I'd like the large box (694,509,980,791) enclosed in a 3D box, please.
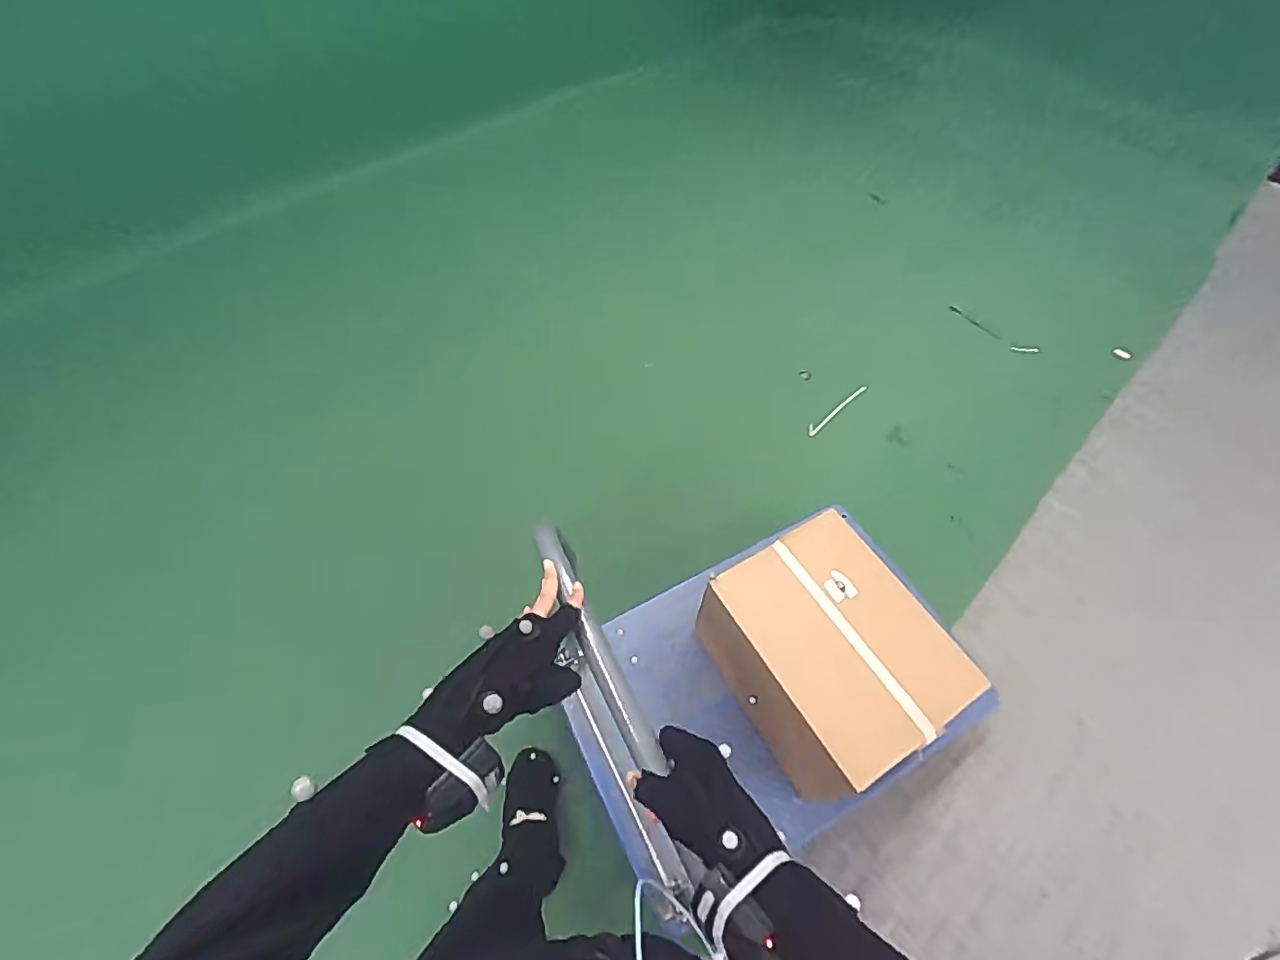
[{"bbox_3d":[0.355,0.344,1.099,0.320,0.320,0.408,-26,61,-17],"label":"large box"}]
